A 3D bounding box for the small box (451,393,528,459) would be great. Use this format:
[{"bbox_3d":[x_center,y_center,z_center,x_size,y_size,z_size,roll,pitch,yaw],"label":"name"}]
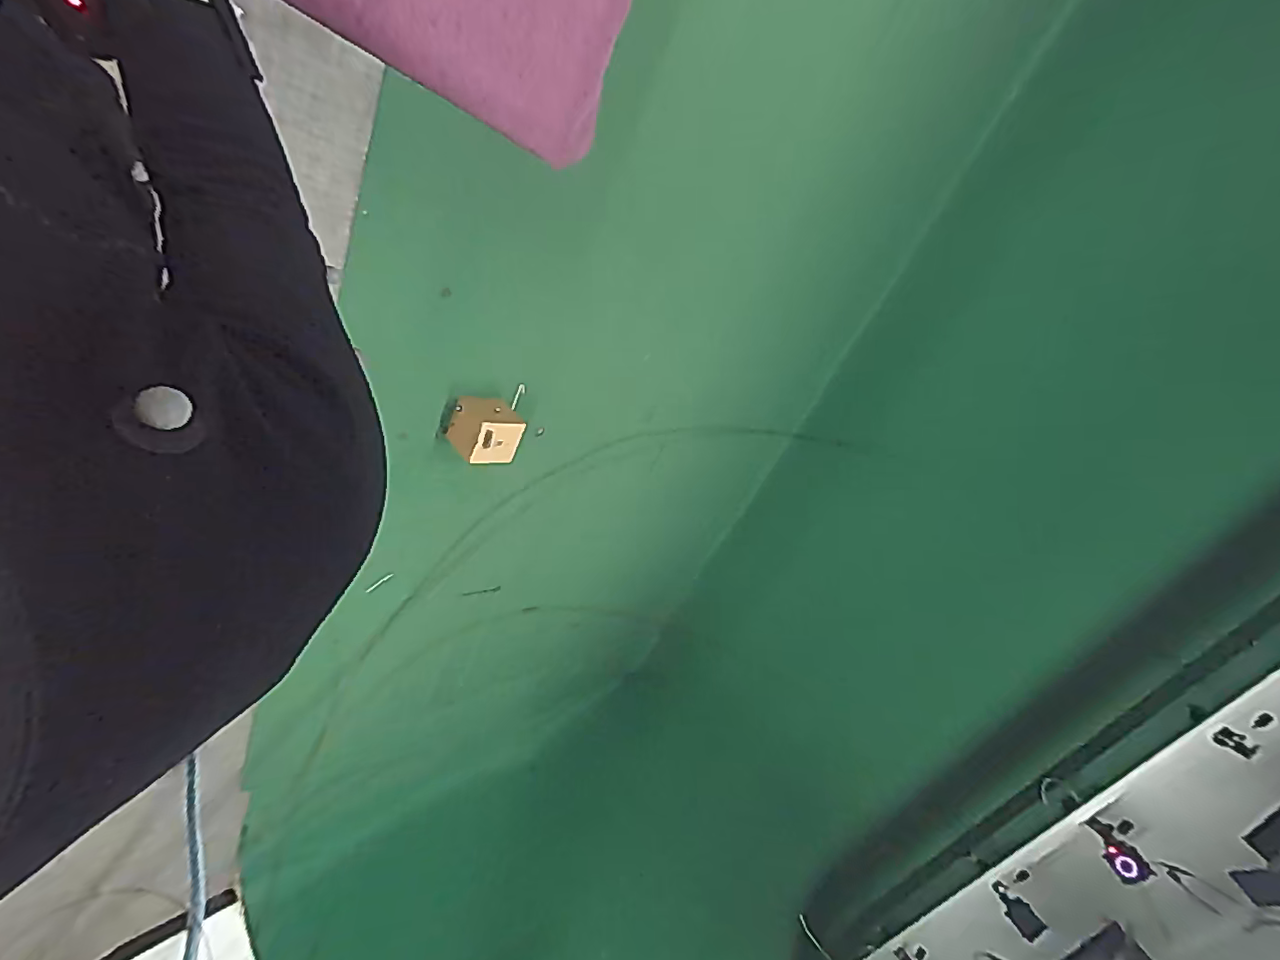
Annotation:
[{"bbox_3d":[-0.525,-0.187,1.873,0.179,0.176,0.168,-5,131,-50],"label":"small box"}]
